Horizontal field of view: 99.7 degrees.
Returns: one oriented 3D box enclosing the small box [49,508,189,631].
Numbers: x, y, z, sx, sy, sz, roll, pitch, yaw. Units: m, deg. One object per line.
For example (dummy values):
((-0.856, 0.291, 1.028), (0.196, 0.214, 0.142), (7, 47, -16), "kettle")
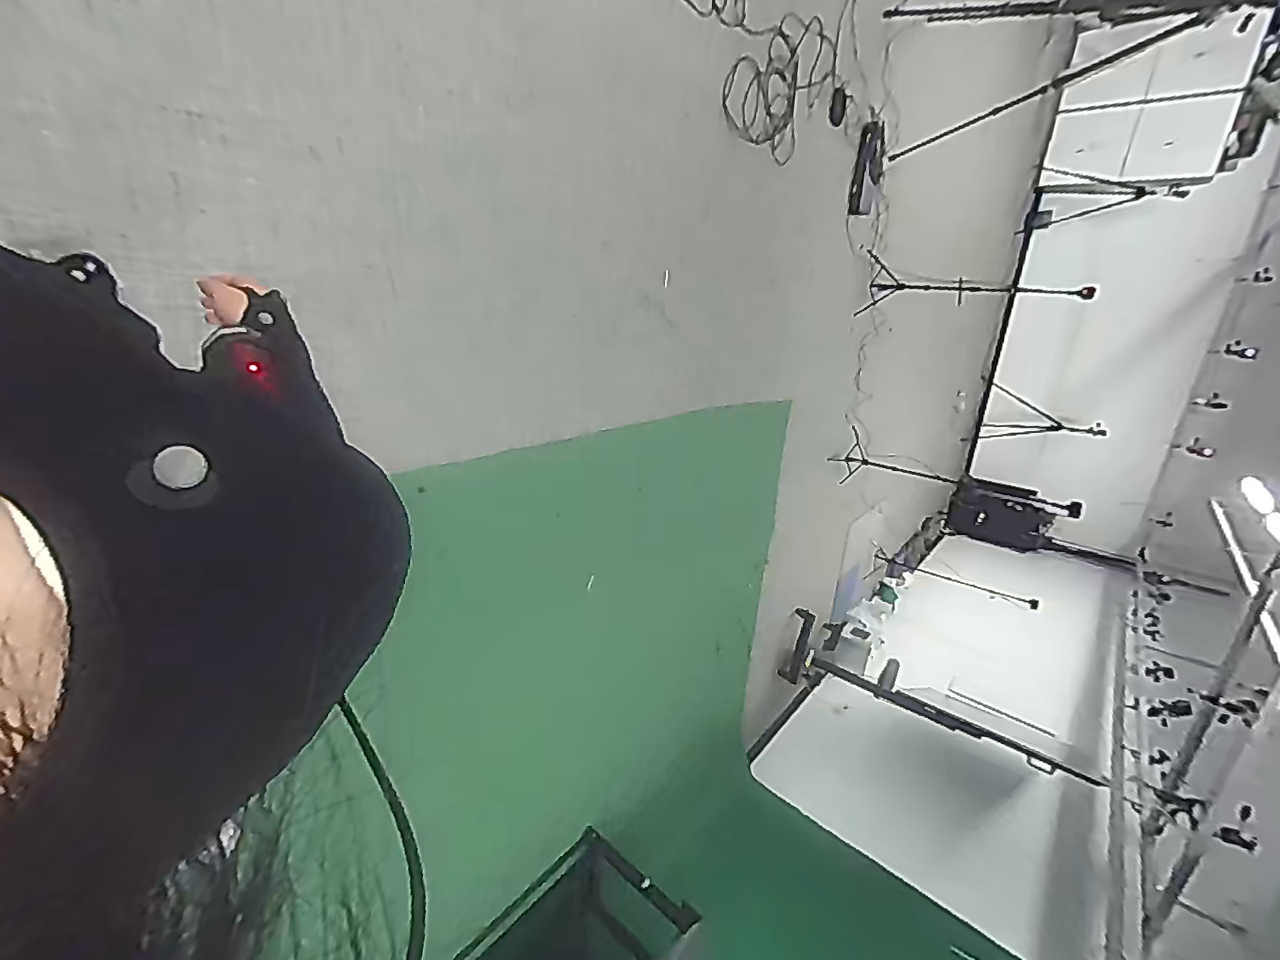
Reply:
((-1.033, 0.165, 1.073), (0.168, 0.176, 0.179), (-15, 115, -46), "small box")
